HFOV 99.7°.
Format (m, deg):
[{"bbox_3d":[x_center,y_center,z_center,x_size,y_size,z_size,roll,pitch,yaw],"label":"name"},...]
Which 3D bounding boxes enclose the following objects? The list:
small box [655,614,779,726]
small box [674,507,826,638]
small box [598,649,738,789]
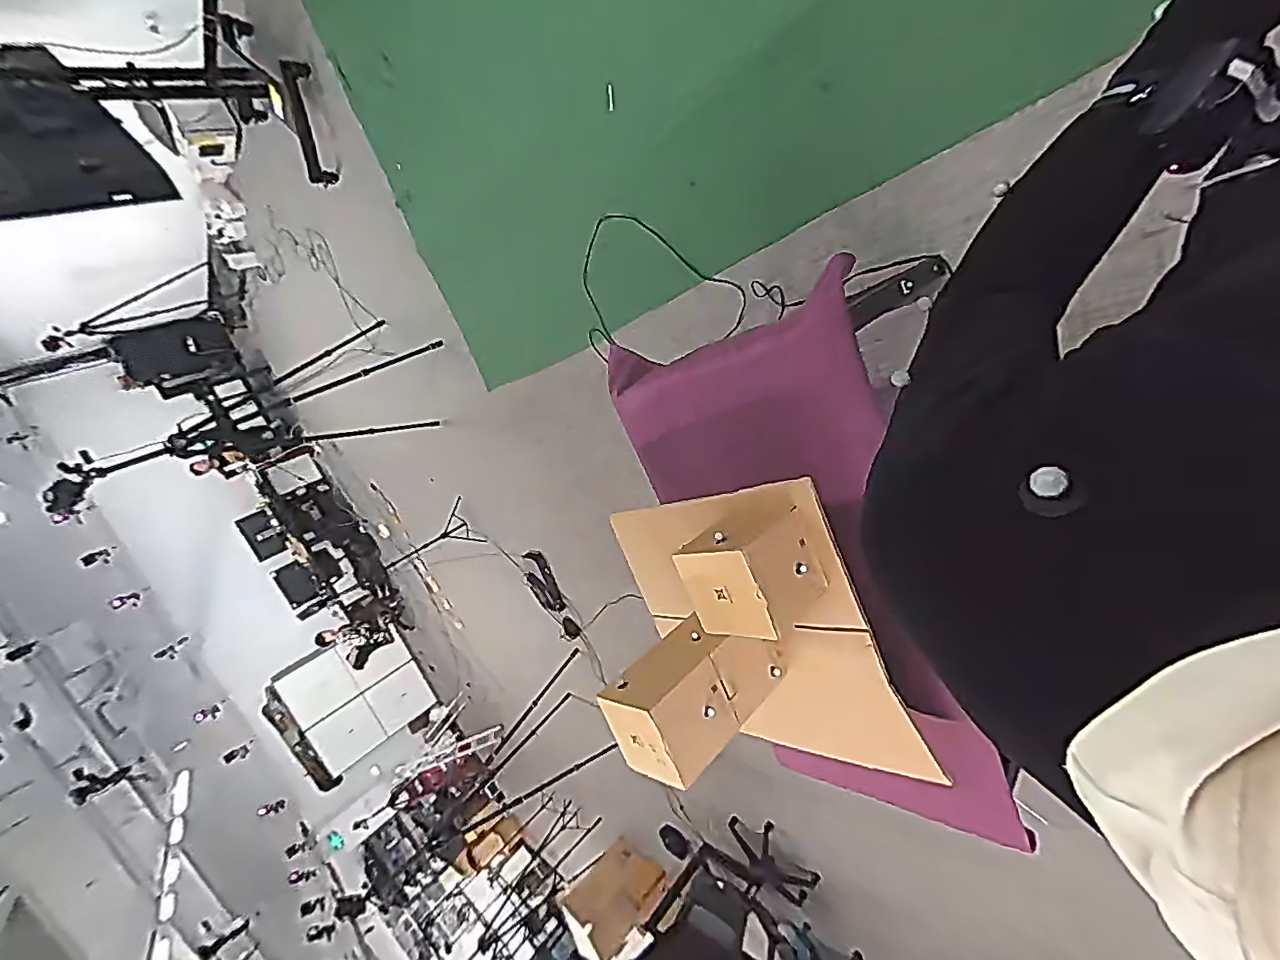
[{"bbox_3d":[0.171,0.381,1.142,0.179,0.176,0.168,-14,101,52],"label":"small box"},{"bbox_3d":[0.199,0.162,0.972,0.179,0.176,0.168,-15,102,51],"label":"small box"},{"bbox_3d":[0.056,0.447,1.045,0.179,0.176,0.168,-15,102,51],"label":"small box"}]
